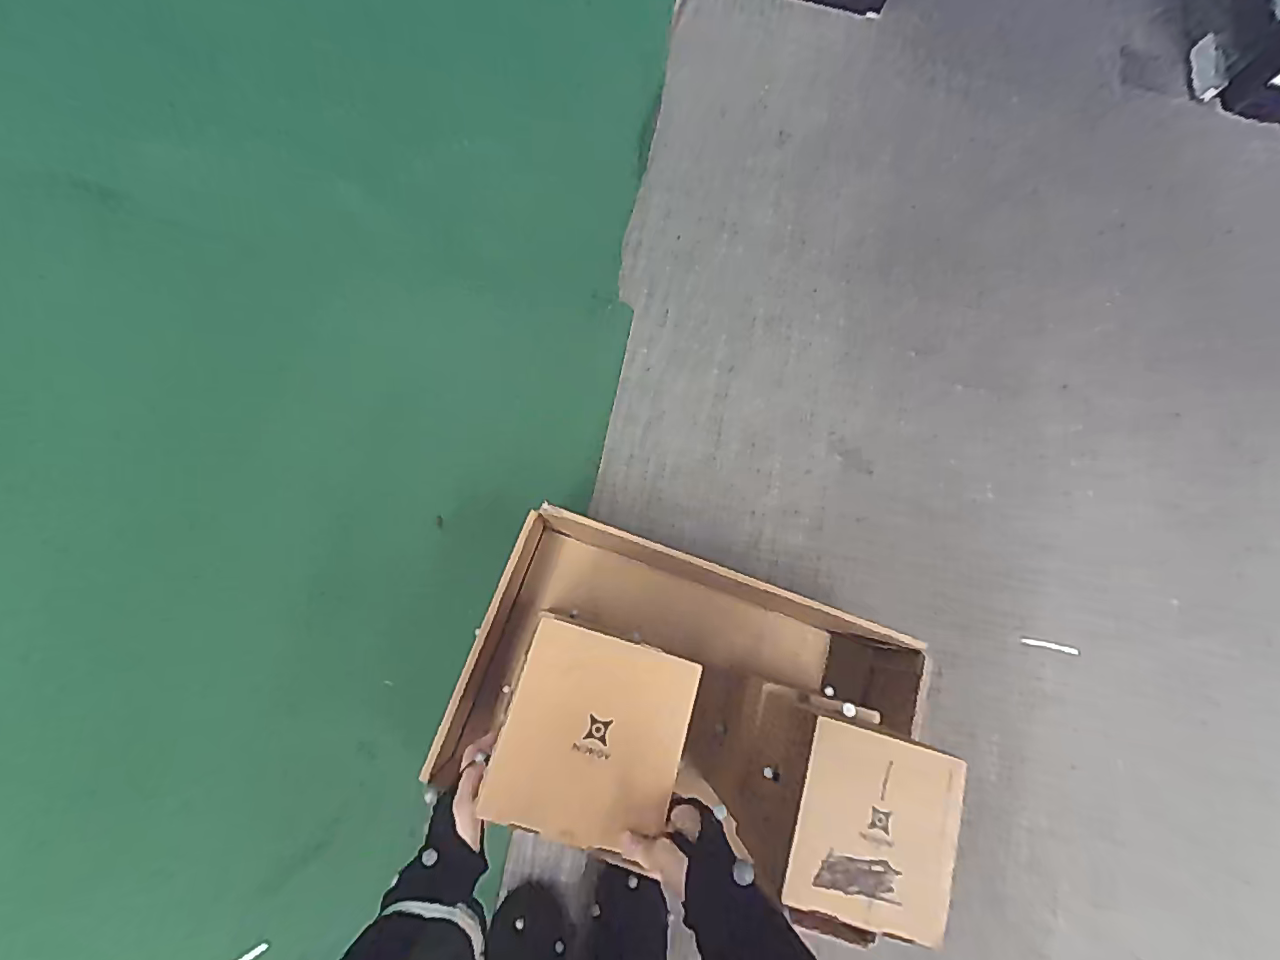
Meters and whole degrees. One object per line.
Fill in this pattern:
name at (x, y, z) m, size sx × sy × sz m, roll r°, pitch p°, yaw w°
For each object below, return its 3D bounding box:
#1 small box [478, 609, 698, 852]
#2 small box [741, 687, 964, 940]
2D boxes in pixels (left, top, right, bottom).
small box at (-0.057, 0.246, 0.573) m, size 0.168 × 0.176 × 0.179 m, roll 19°, pitch 74°, yaw -6°
small box at (0.225, 0.353, 0.611) m, size 0.168 × 0.176 × 0.179 m, roll 17°, pitch 75°, yaw 0°
